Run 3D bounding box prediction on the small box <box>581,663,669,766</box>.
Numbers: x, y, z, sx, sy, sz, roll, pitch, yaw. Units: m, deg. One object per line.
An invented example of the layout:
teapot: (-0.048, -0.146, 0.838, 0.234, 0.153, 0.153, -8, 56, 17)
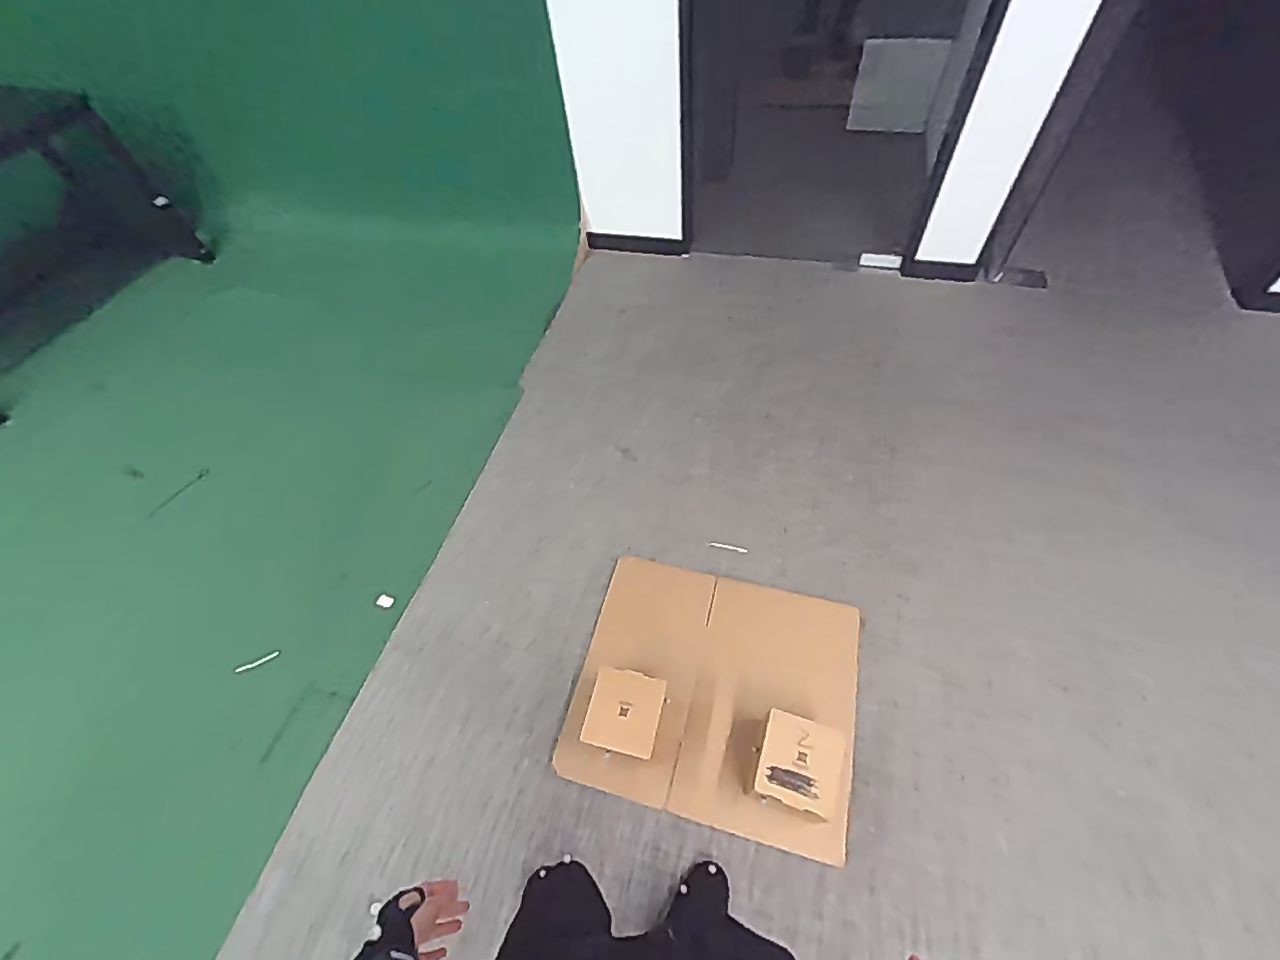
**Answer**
small box: (-0.026, 0.564, 1.290, 0.168, 0.176, 0.179, 10, 56, 11)
